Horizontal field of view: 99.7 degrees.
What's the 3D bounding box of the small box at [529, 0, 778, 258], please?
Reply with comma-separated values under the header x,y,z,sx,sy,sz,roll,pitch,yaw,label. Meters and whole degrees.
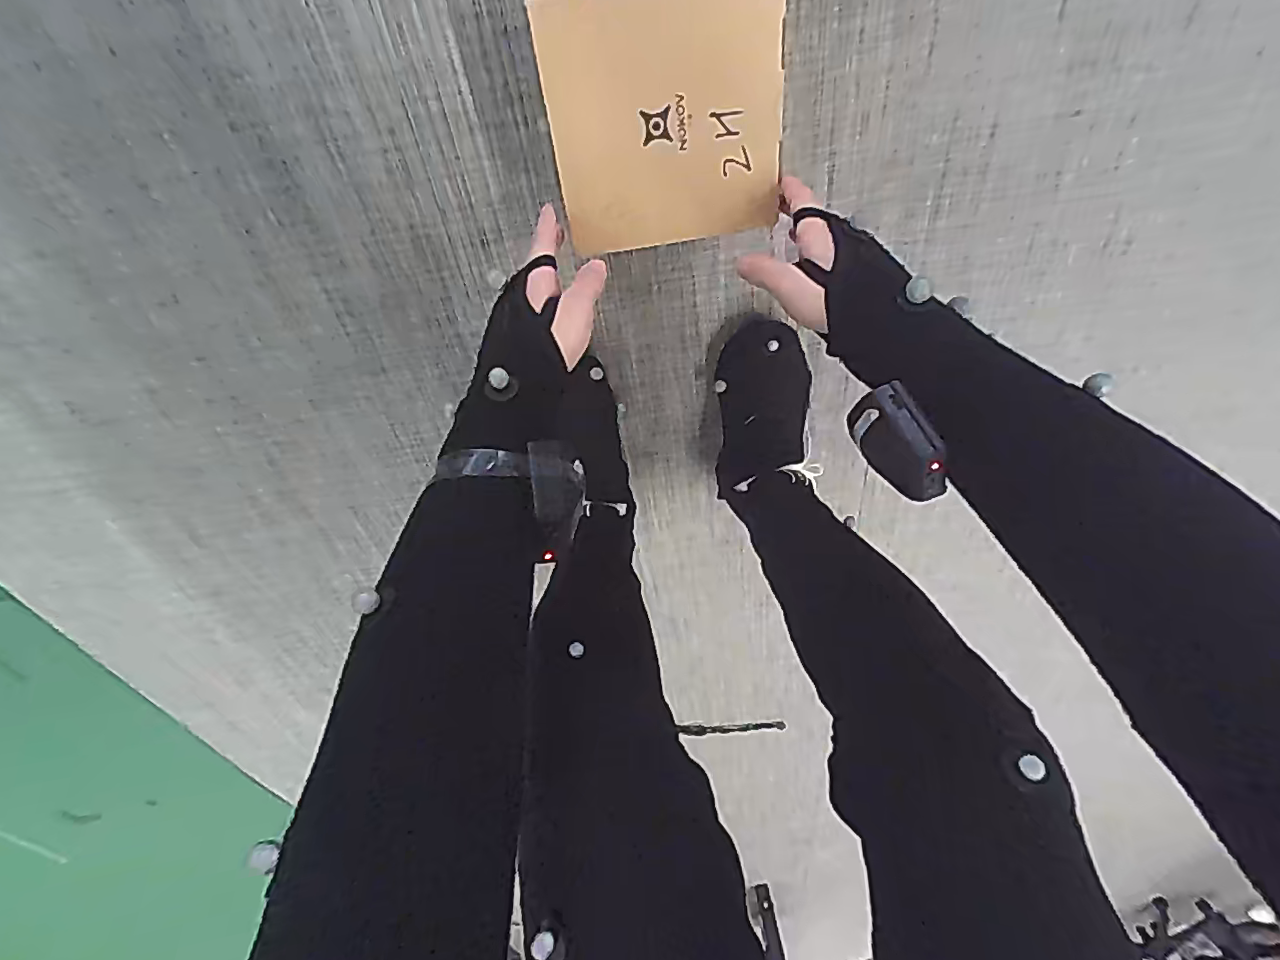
x,y,z,sx,sy,sz,roll,pitch,yaw,label
0.012,-0.314,0.480,0.179,0.176,0.168,-9,128,0,small box
